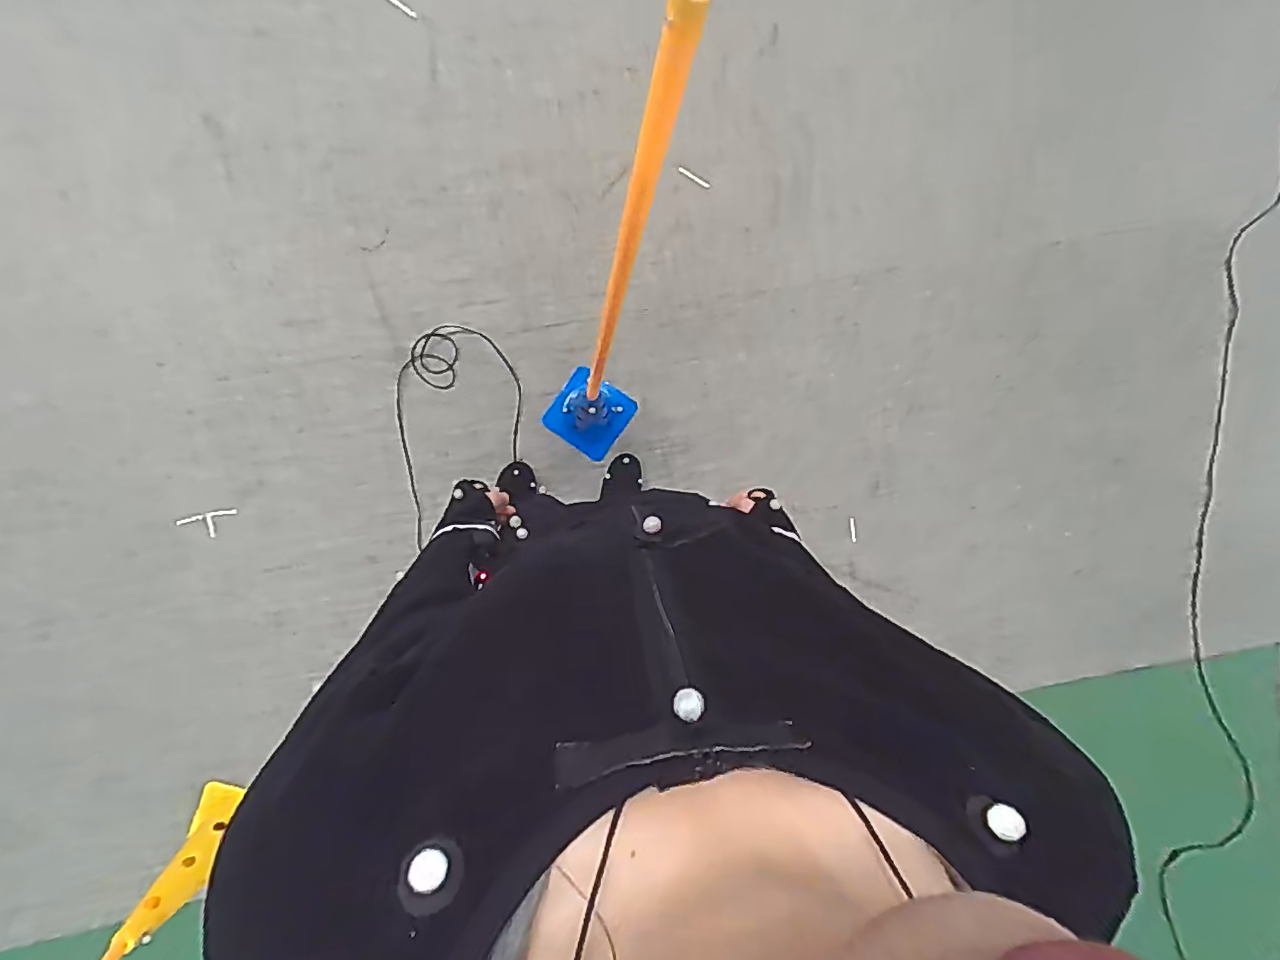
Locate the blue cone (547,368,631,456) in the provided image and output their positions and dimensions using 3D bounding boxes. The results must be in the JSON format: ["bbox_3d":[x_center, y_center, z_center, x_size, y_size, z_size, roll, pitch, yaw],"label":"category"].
[{"bbox_3d":[-0.118,-0.185,1.290,0.192,0.380,0.193,34,86,-6],"label":"blue cone"}]
